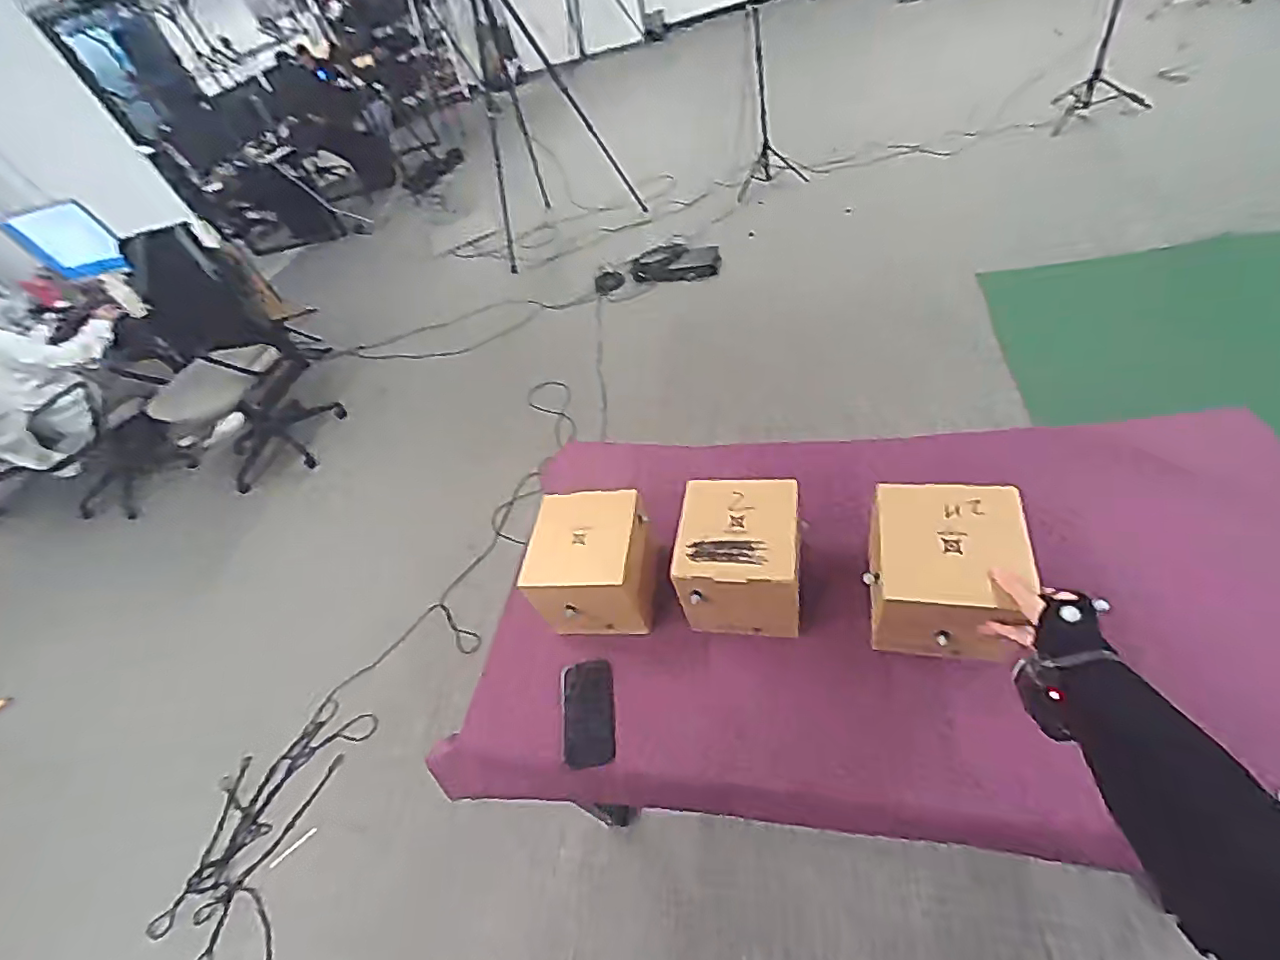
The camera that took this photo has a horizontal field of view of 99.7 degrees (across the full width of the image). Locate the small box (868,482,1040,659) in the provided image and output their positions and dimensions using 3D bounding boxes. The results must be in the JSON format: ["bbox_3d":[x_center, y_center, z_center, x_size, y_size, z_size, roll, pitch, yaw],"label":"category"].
[{"bbox_3d":[0.403,0.123,0.725,0.168,0.176,0.179,2,52,19],"label":"small box"}]

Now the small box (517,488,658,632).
[{"bbox_3d":[-0.073,0.136,0.883,0.168,0.176,0.179,-5,48,15],"label":"small box"}]
